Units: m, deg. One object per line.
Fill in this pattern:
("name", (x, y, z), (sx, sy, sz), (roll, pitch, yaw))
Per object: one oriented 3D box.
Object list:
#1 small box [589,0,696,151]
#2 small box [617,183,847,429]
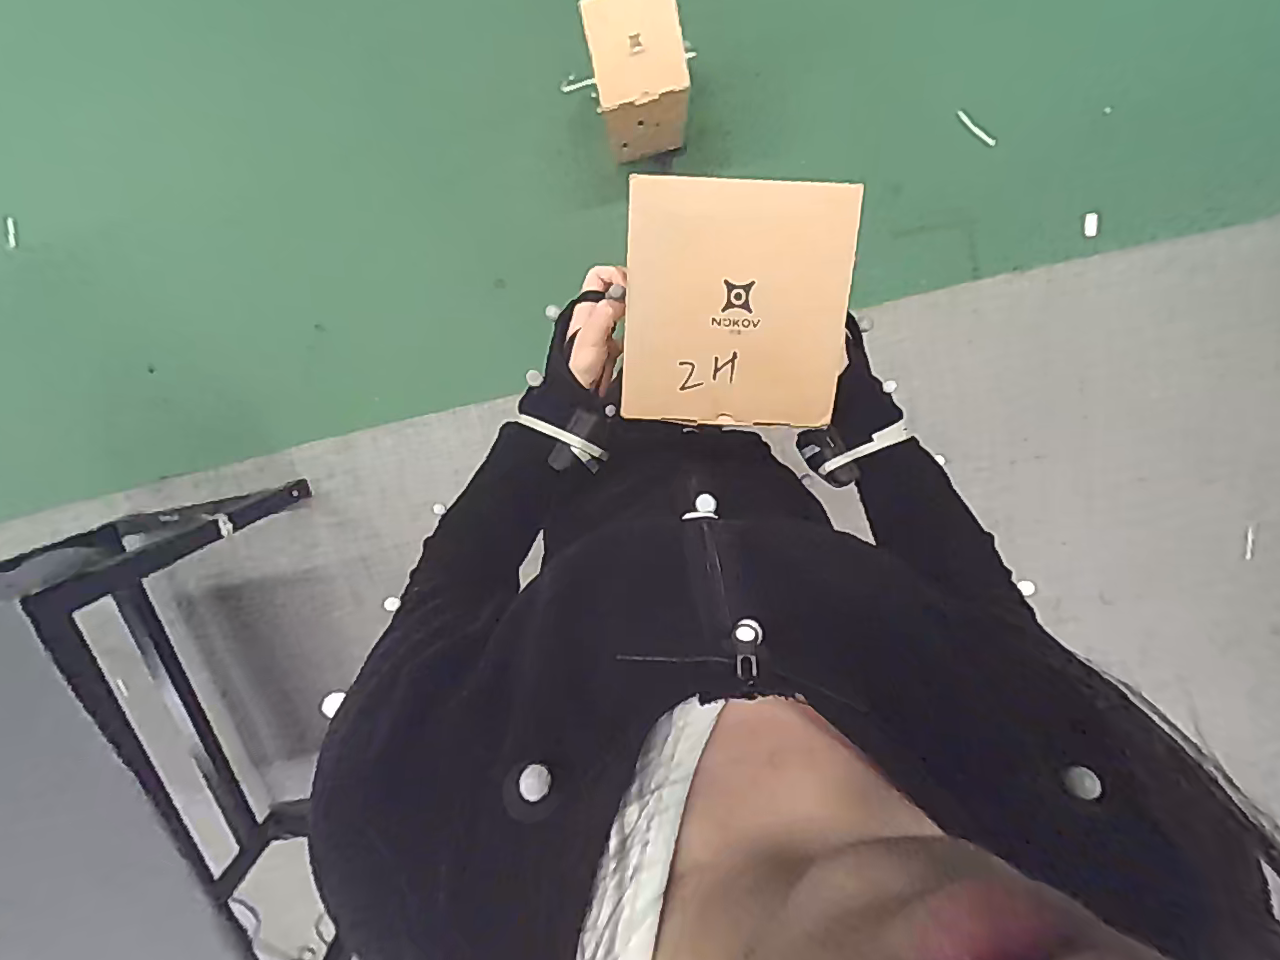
("small box", (0.007, -0.779, 1.051), (0.168, 0.176, 0.179), (-13, 104, 6))
("small box", (0.069, -0.147, 0.486), (0.168, 0.176, 0.179), (2, 105, 3))
